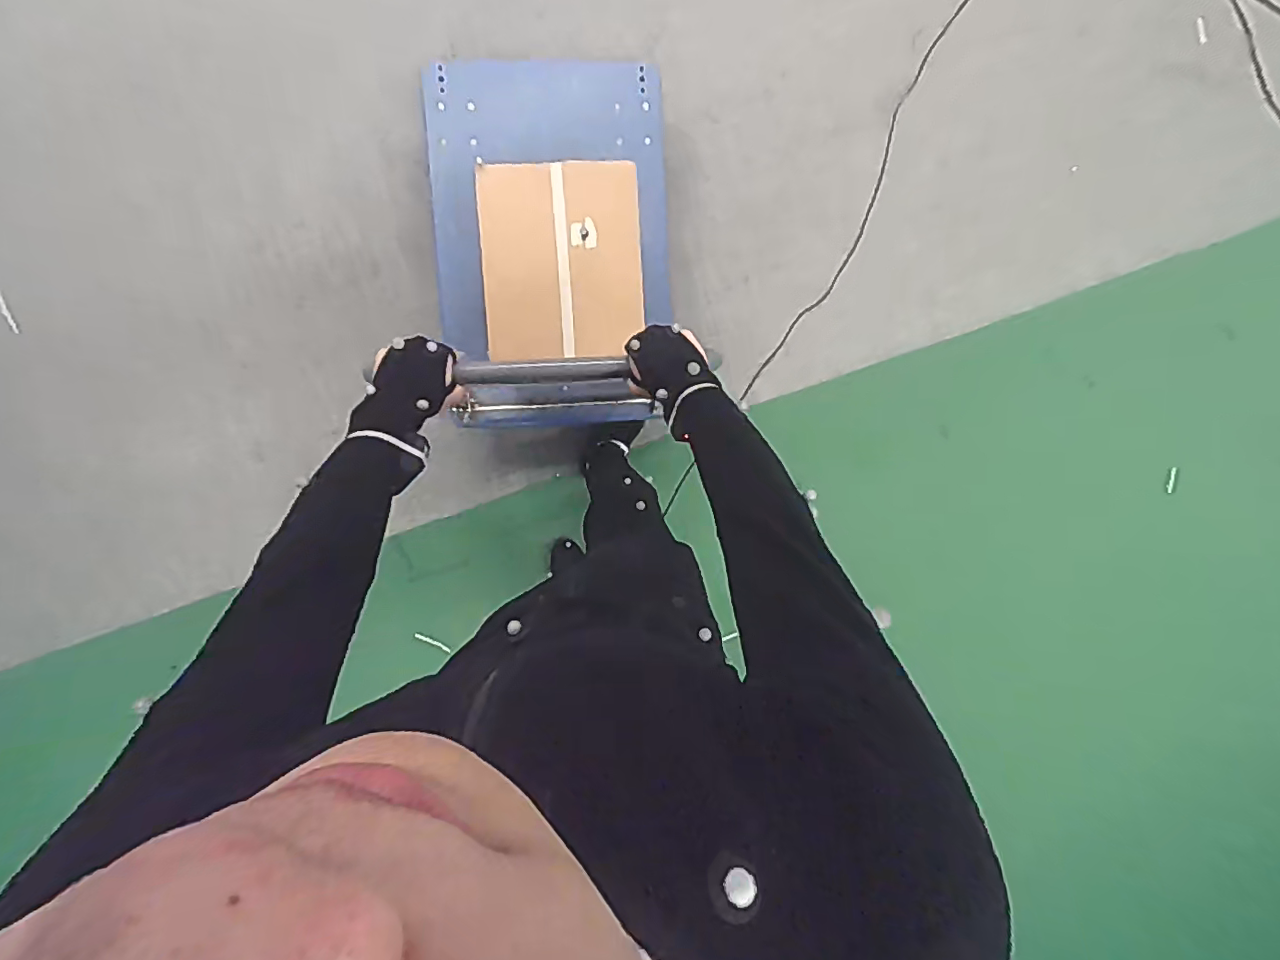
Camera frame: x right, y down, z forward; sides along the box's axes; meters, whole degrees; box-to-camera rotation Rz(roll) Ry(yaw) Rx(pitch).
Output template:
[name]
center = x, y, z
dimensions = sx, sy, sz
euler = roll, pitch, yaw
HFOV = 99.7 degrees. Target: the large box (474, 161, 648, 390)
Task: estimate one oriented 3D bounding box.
[large box]
center = -0.165, -0.427, 1.215
dimensions = 0.320, 0.320, 0.408
euler = -4, 95, -5
